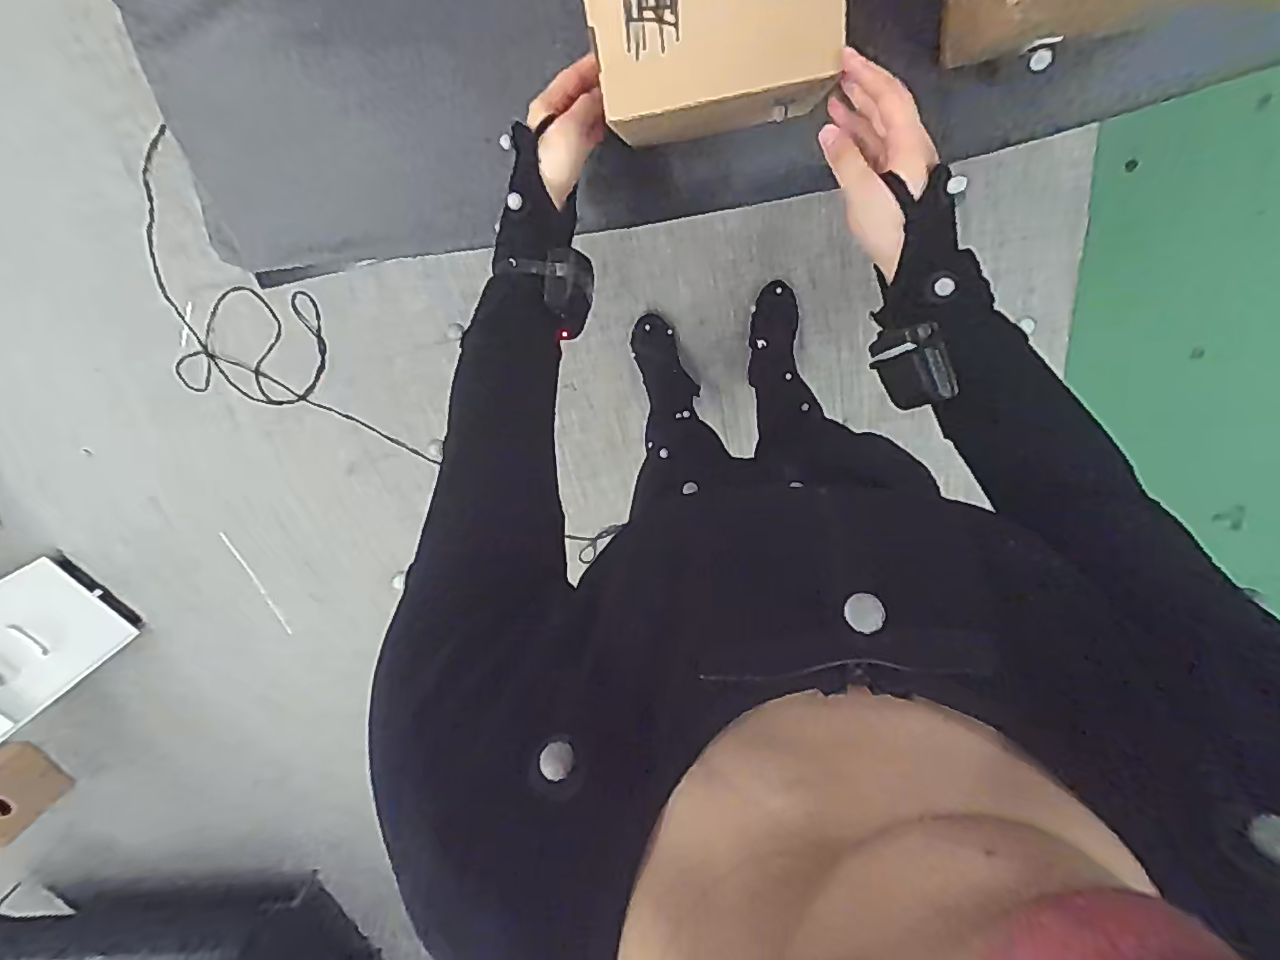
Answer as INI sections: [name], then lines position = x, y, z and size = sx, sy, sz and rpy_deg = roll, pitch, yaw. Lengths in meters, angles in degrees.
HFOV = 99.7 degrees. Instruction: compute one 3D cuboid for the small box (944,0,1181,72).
[small box]
position = 0.335, -0.426, 0.381
size = 0.168, 0.176, 0.179
rpy_deg = -6, 116, 11
